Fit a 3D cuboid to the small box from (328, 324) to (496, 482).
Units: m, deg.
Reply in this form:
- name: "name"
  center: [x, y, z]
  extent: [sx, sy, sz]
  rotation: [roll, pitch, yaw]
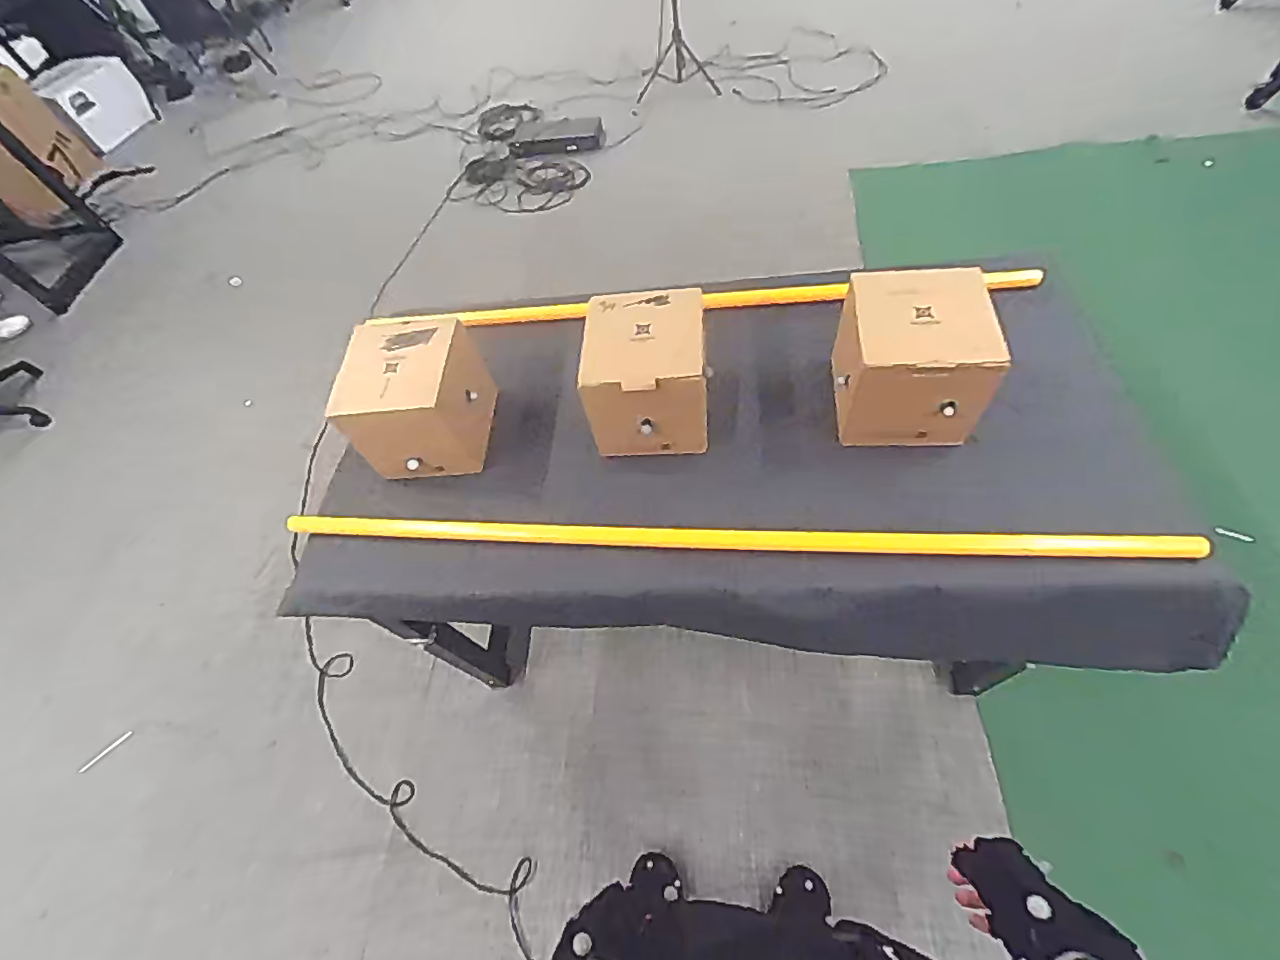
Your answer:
- name: "small box"
  center: [-0.338, -0.115, 0.844]
  extent: [0.168, 0.176, 0.179]
  rotation: [-4, 58, 7]

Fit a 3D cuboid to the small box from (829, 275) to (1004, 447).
- name: "small box"
  center: [0.368, -0.159, 0.757]
  extent: [0.168, 0.176, 0.179]
  rotation: [1, 56, 9]

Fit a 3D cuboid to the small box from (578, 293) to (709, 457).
- name: "small box"
  center: [0.012, -0.147, 0.810]
  extent: [0.168, 0.176, 0.179]
  rotation: [-5, 56, 8]
